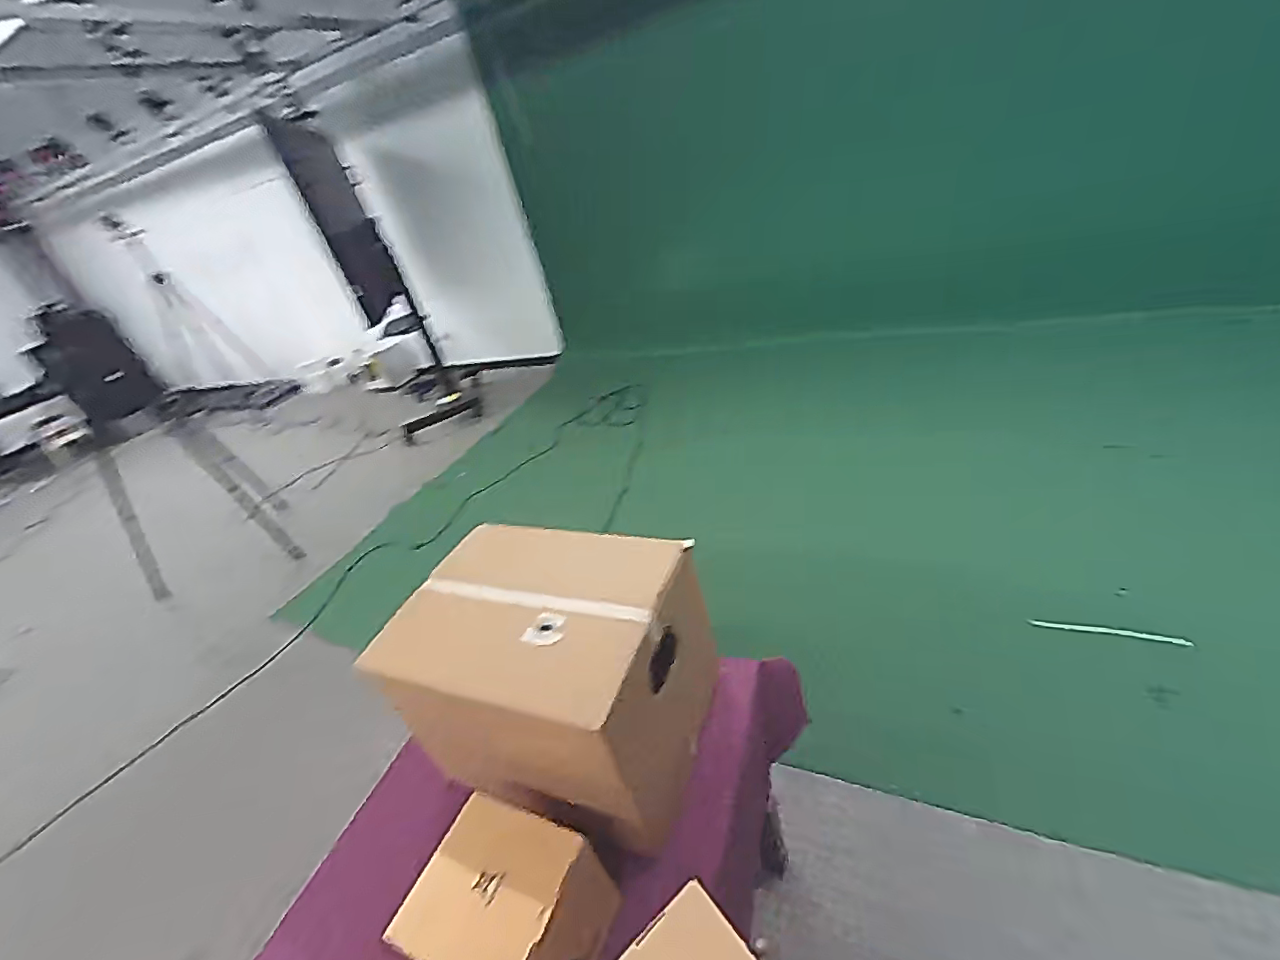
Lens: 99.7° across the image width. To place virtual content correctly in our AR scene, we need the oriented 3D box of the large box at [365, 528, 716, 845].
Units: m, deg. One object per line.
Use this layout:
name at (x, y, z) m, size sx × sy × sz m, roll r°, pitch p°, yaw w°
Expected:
large box at (-0.127, 0.301, 0.868) m, size 0.408 × 0.320 × 0.320 m, roll 3°, pitch 36°, yaw 25°
